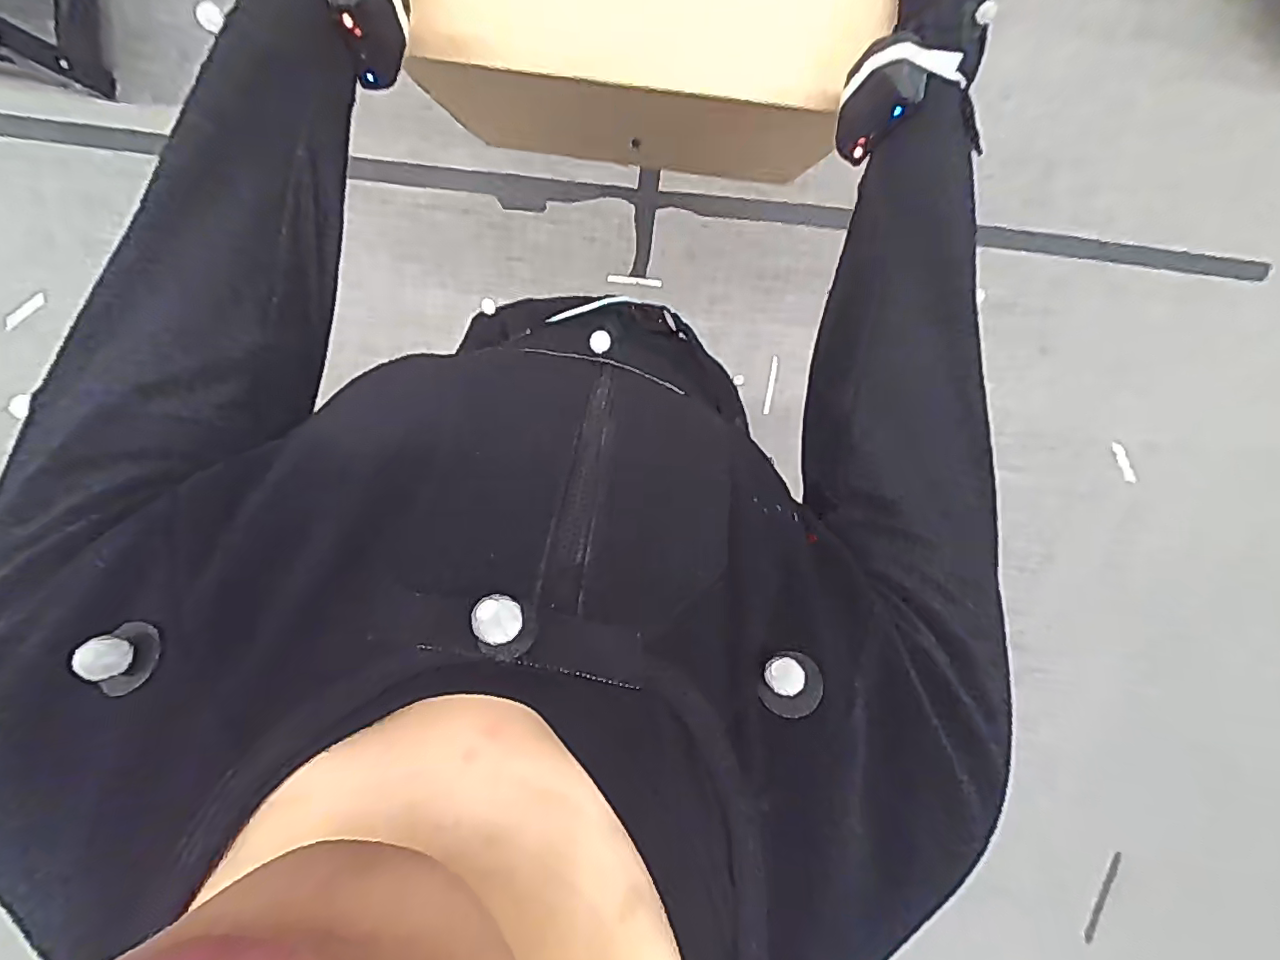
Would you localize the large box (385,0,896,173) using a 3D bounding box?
[{"bbox_3d":[0.014,-0.518,0.527,0.408,0.320,0.320,7,109,-2],"label":"large box"}]
